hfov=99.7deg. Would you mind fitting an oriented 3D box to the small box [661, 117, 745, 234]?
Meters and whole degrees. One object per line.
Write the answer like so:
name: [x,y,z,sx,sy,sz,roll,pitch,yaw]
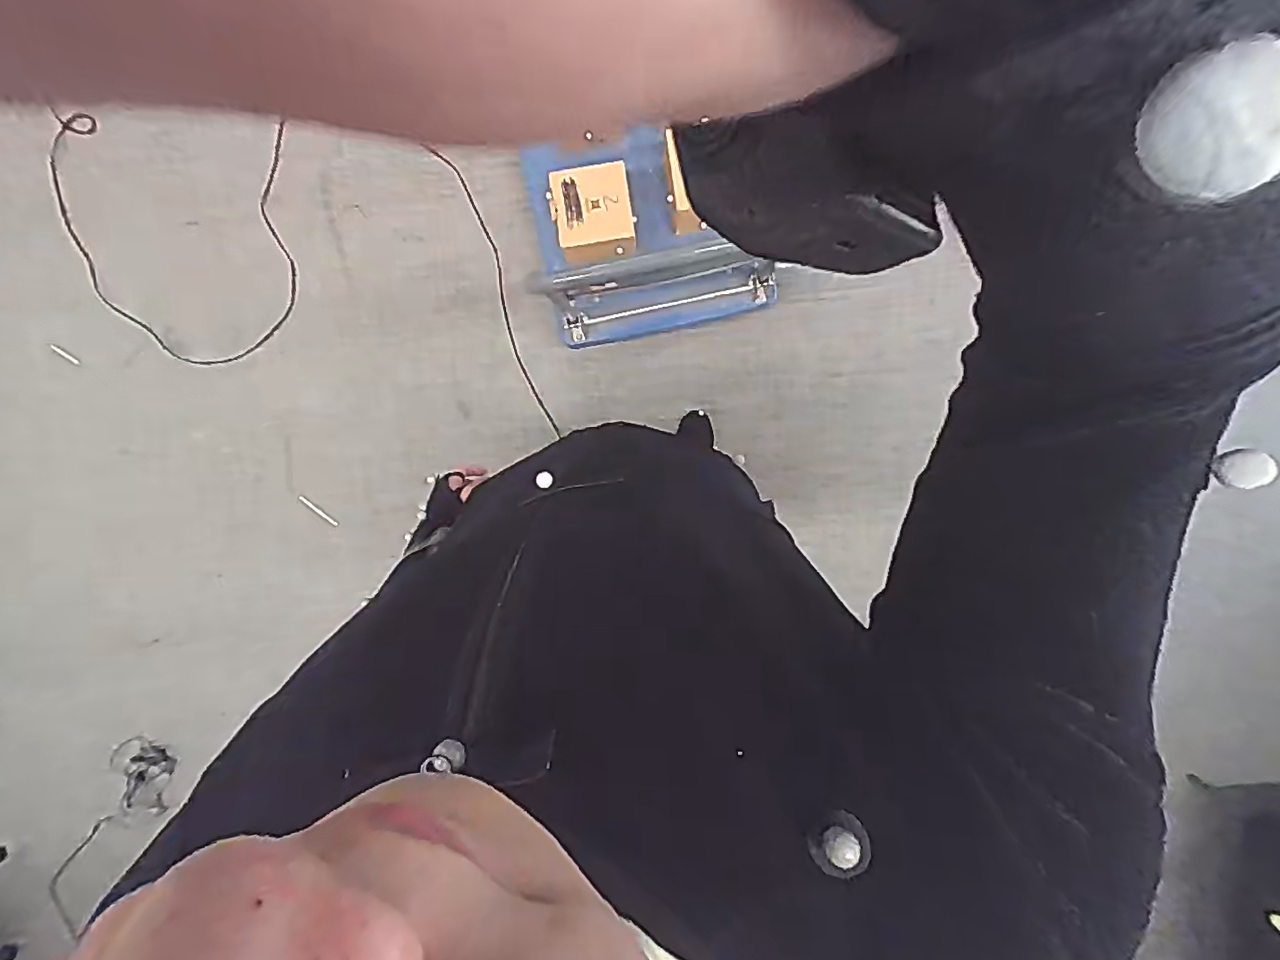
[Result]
small box: [0.142,-0.713,1.283,0.168,0.176,0.179,-10,96,2]
